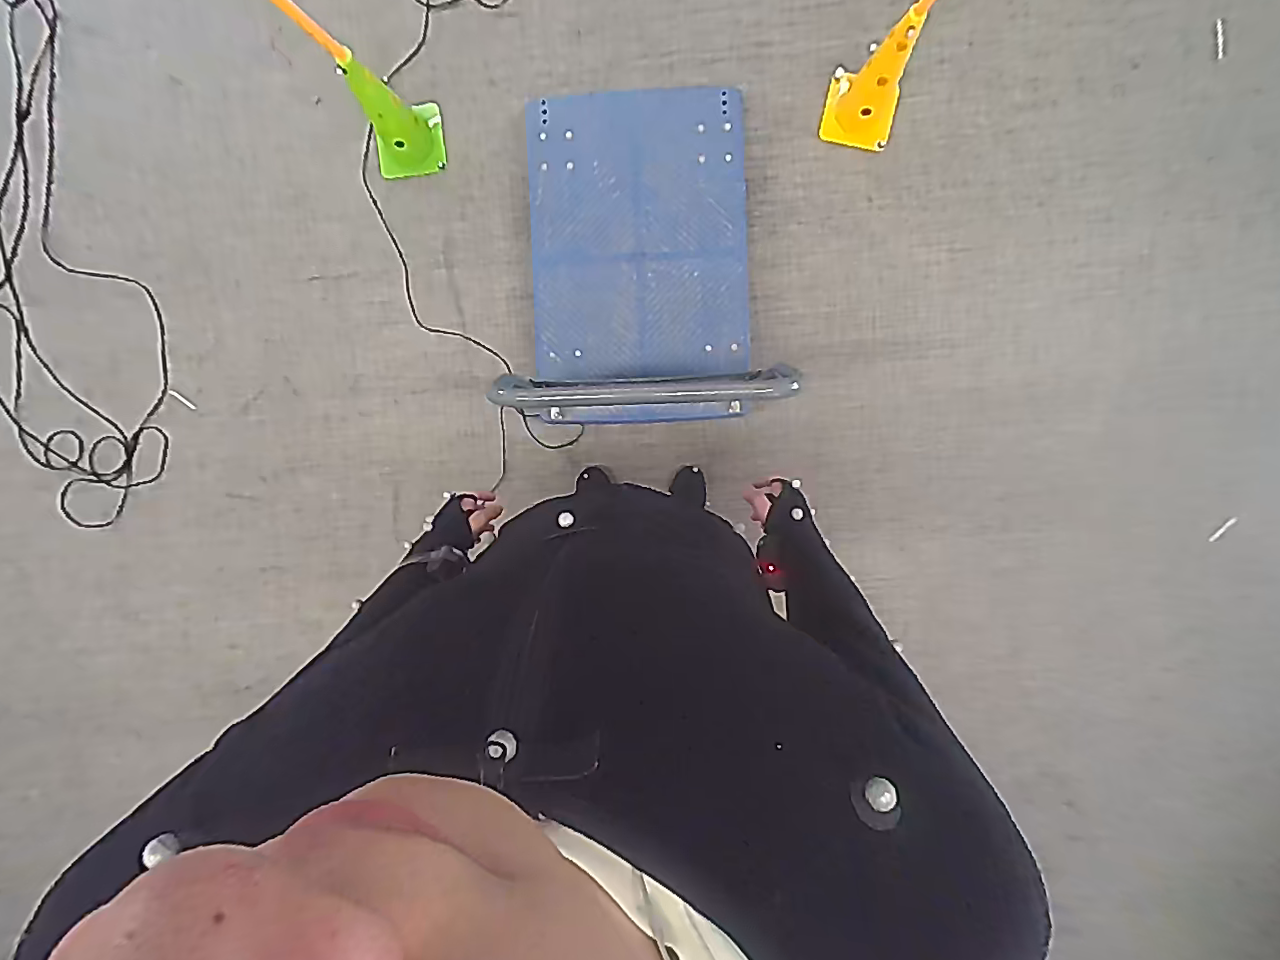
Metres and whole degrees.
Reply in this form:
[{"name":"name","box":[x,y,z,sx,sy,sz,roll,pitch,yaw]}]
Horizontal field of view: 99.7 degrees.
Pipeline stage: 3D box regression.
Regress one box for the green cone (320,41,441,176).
[{"name":"green cone","box":[-0.704,-1.005,1.423,0.202,0.368,0.200,-8,92,3]}]
